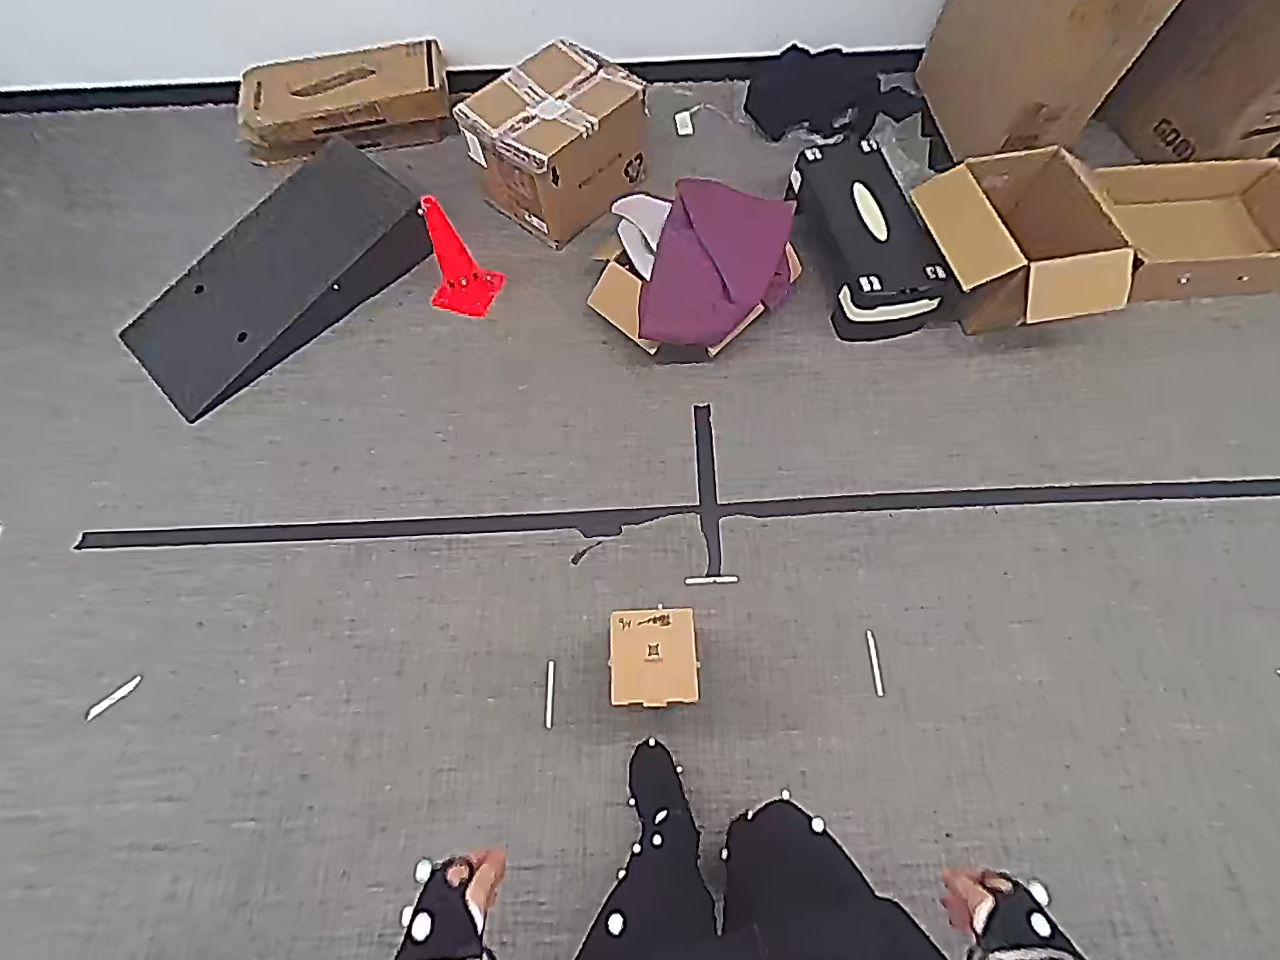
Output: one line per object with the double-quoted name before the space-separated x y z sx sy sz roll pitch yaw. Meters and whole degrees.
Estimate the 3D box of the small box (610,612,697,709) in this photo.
"small box" 0.028 0.372 1.109 0.168 0.176 0.179 -2 67 2
